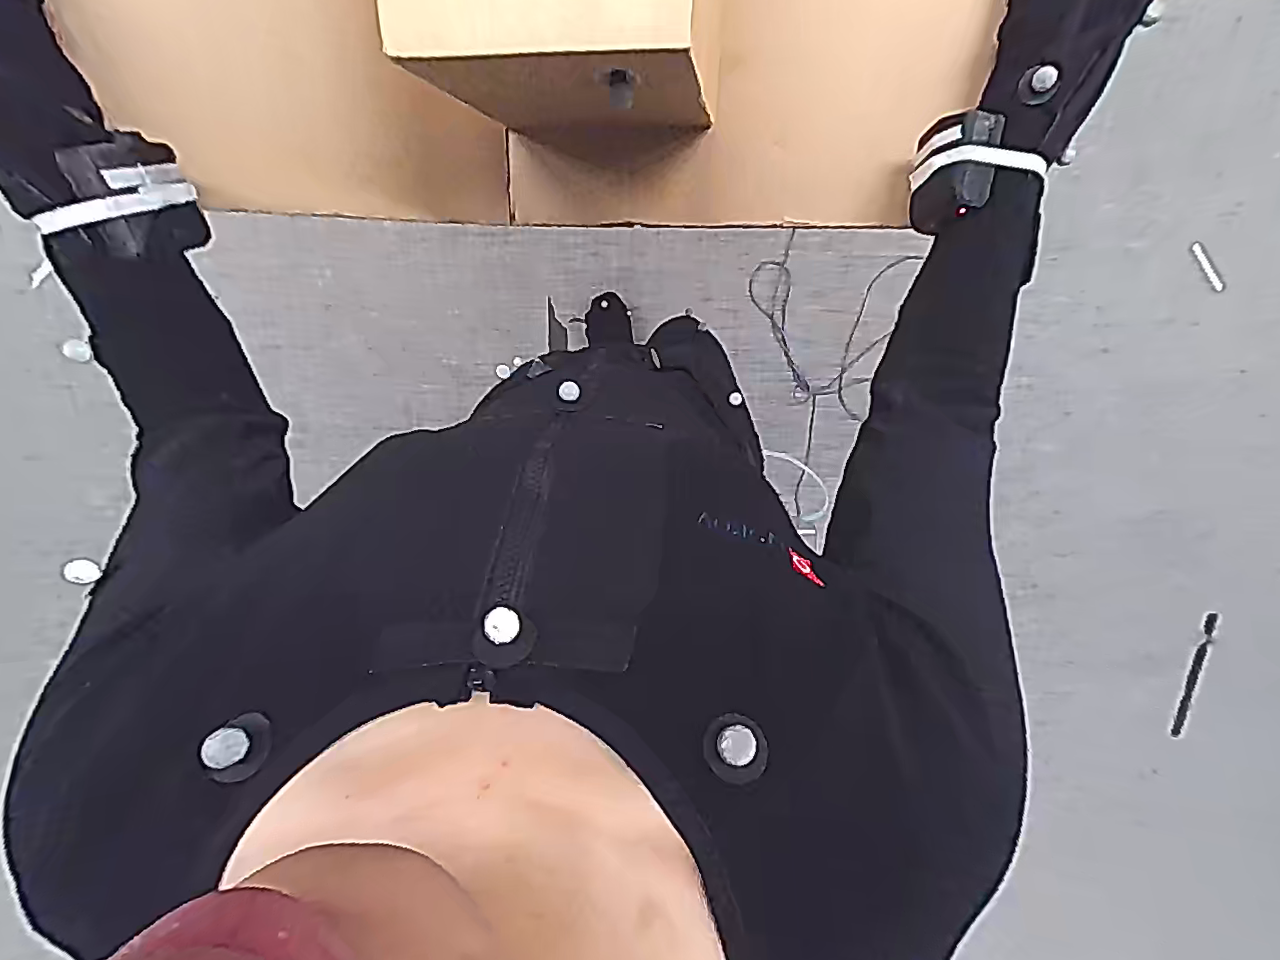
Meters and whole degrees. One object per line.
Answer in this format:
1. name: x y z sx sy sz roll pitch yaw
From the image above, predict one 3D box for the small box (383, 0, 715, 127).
1. small box: -0.042 -0.339 0.341 0.179 0.176 0.168 7 112 10
